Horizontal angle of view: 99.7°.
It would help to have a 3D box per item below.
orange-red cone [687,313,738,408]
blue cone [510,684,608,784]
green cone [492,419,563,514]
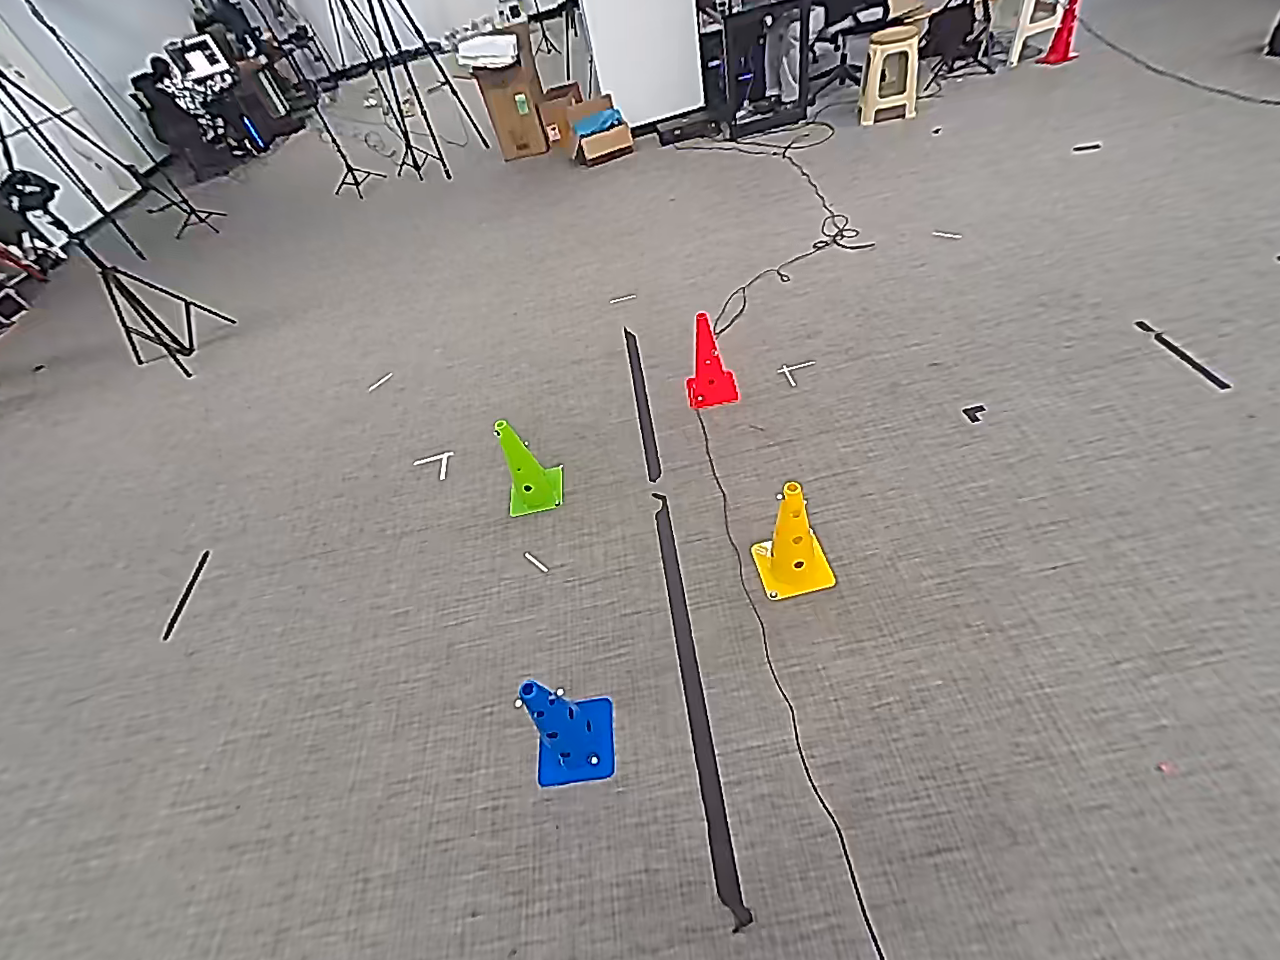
[{"bbox_3d":[0.262,-0.479,2.082,0.199,0.360,0.198,-8,49,6],"label":"orange-red cone"},{"bbox_3d":[-0.212,0.570,1.286,0.192,0.380,0.193,-10,47,8],"label":"blue cone"},{"bbox_3d":[-0.423,-0.076,1.905,0.202,0.368,0.200,-13,47,5],"label":"green cone"}]
